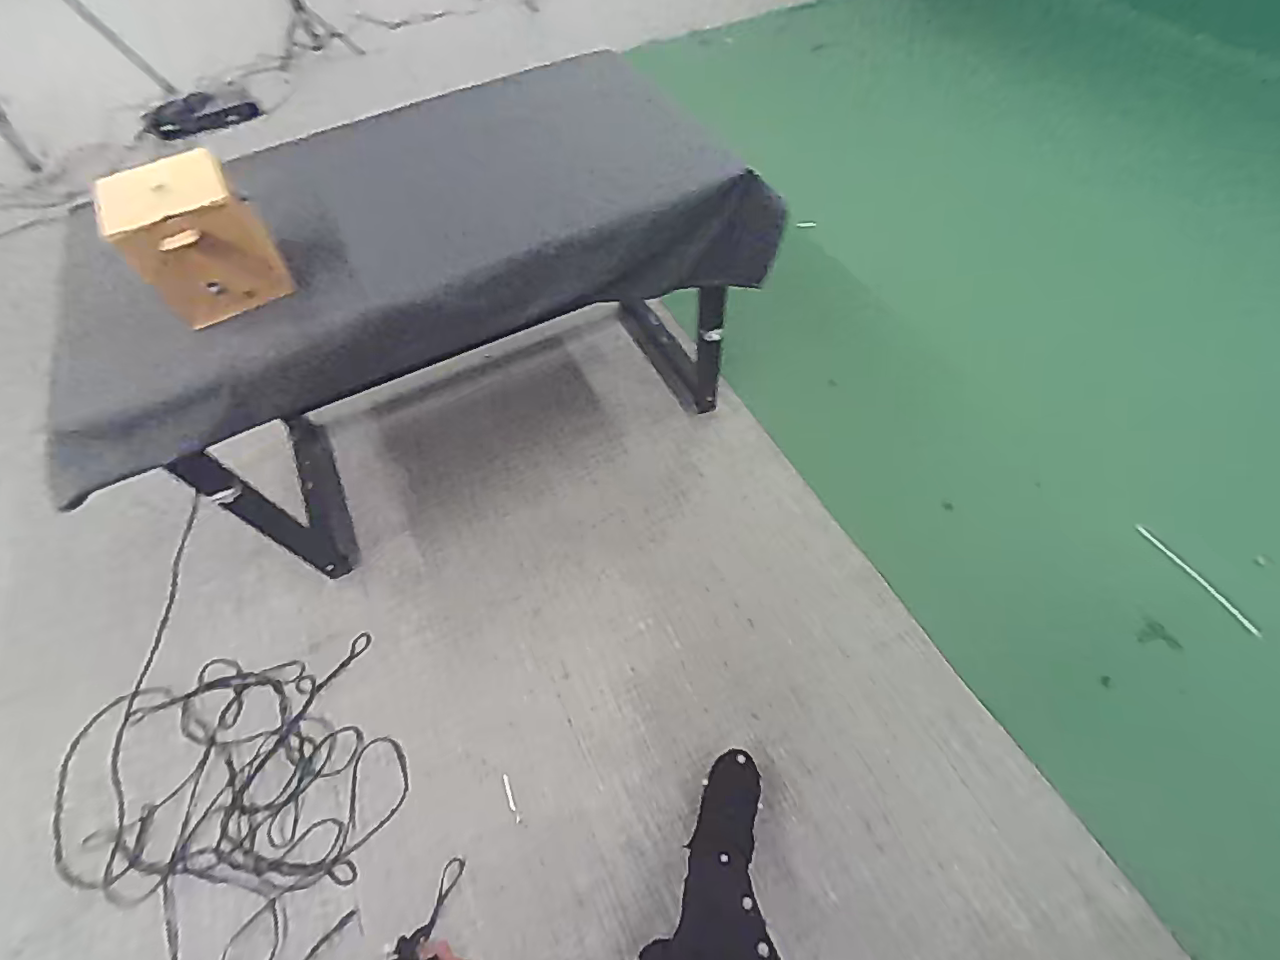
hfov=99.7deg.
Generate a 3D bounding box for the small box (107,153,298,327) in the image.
[{"bbox_3d":[-0.688,-0.379,0.863,0.168,0.176,0.179,-29,61,-15],"label":"small box"}]
